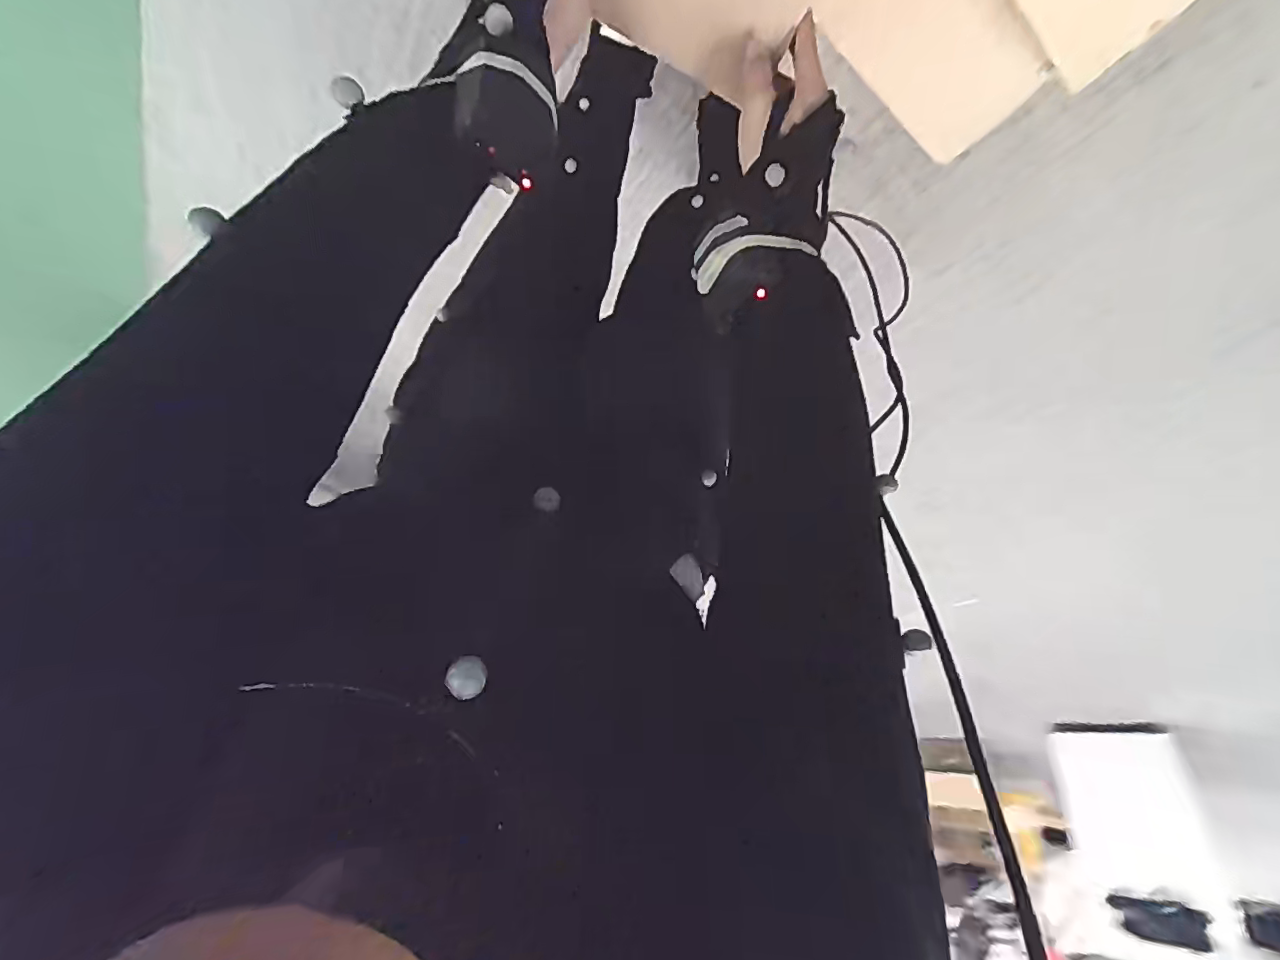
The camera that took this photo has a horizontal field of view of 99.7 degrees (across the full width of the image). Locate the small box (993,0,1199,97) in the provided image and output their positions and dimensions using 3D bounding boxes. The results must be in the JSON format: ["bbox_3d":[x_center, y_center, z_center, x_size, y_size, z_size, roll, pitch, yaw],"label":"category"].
[{"bbox_3d":[0.525,-0.603,0.626,0.179,0.176,0.168,34,138,-22],"label":"small box"}]
